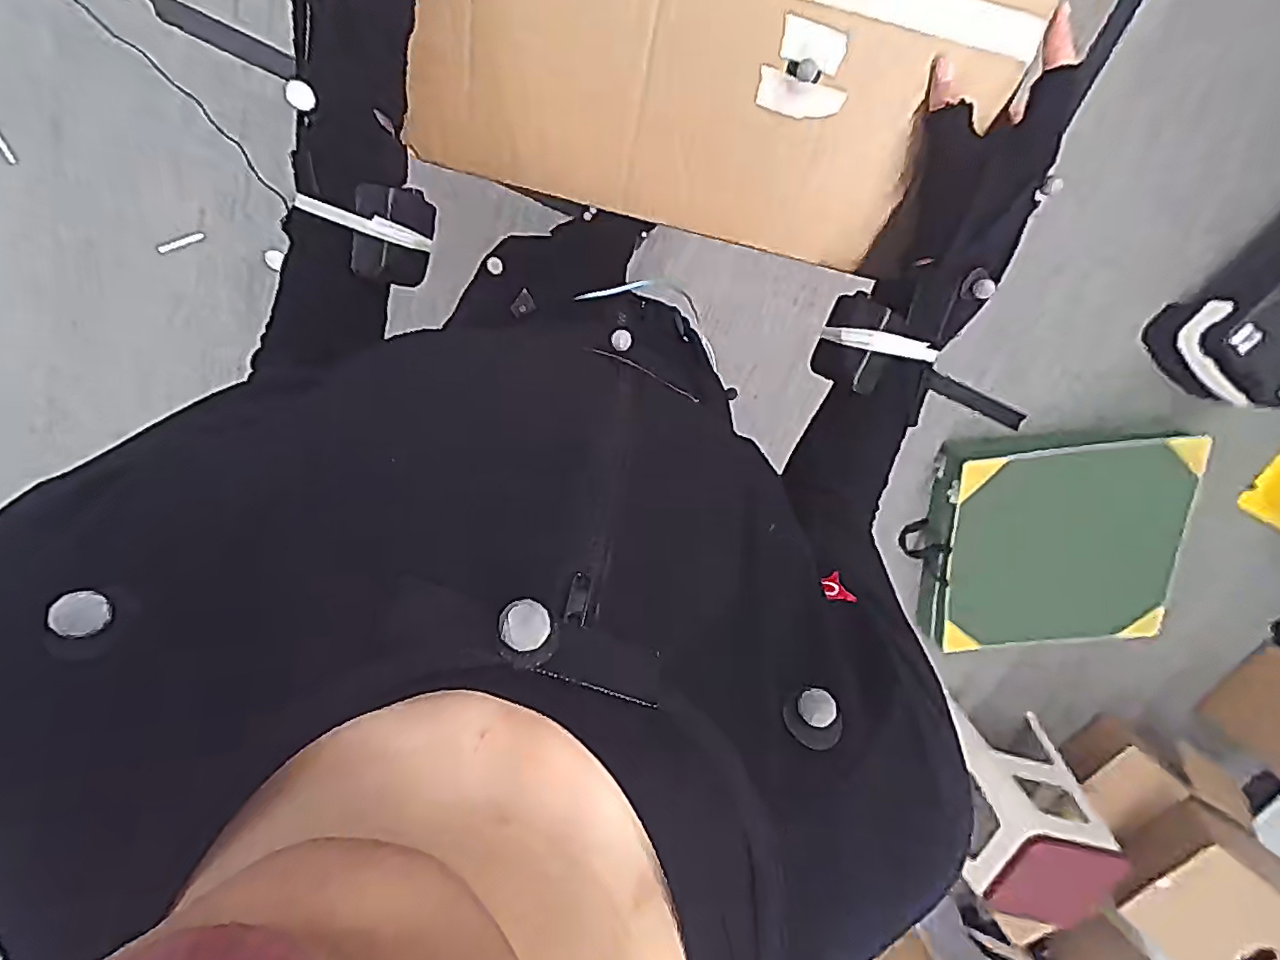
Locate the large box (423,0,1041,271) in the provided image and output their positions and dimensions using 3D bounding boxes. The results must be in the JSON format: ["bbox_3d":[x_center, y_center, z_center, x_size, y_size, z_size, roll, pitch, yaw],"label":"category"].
[{"bbox_3d":[0.066,-0.417,0.467,0.408,0.320,0.320,12,126,-5],"label":"large box"}]
